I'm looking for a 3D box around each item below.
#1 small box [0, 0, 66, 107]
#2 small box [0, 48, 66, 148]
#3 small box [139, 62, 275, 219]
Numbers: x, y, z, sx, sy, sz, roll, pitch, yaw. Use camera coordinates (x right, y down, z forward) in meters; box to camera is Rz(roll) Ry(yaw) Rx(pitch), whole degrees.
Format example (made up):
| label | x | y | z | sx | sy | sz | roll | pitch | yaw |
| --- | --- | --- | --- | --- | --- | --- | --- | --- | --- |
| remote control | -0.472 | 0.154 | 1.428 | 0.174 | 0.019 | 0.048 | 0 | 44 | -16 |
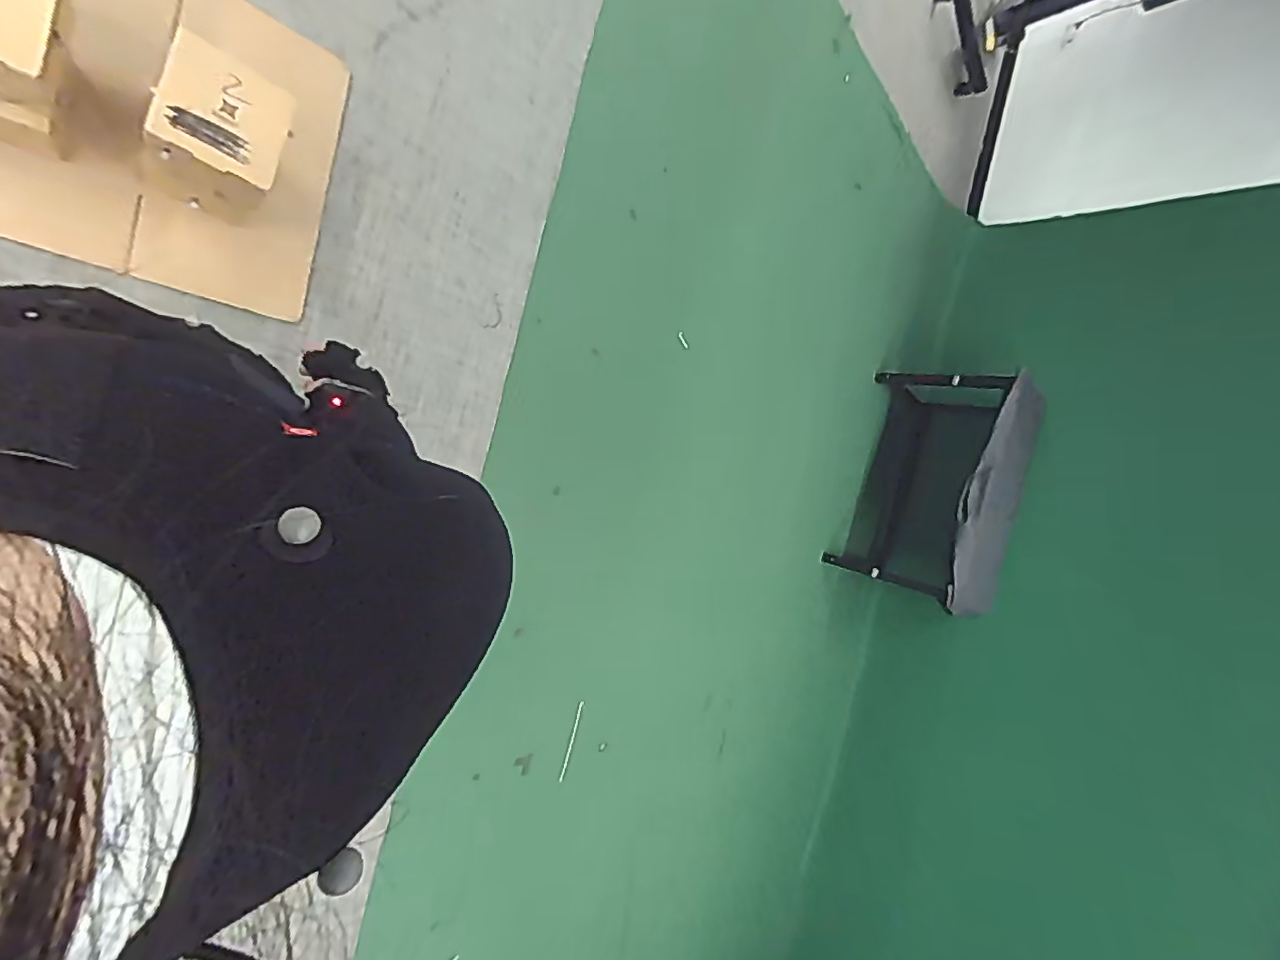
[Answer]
| label | x | y | z | sx | sy | sz | roll | pitch | yaw |
| --- | --- | --- | --- | --- | --- | --- | --- | --- | --- |
| small box | -0.916 | -0.663 | 0.735 | 0.168 | 0.176 | 0.179 | 12 | 91 | -44 |
| small box | -1.036 | -0.663 | 0.849 | 0.168 | 0.176 | 0.179 | 8 | 94 | -44 |
| small box | -0.837 | -0.640 | 1.044 | 0.168 | 0.176 | 0.179 | 18 | 88 | -43 |
